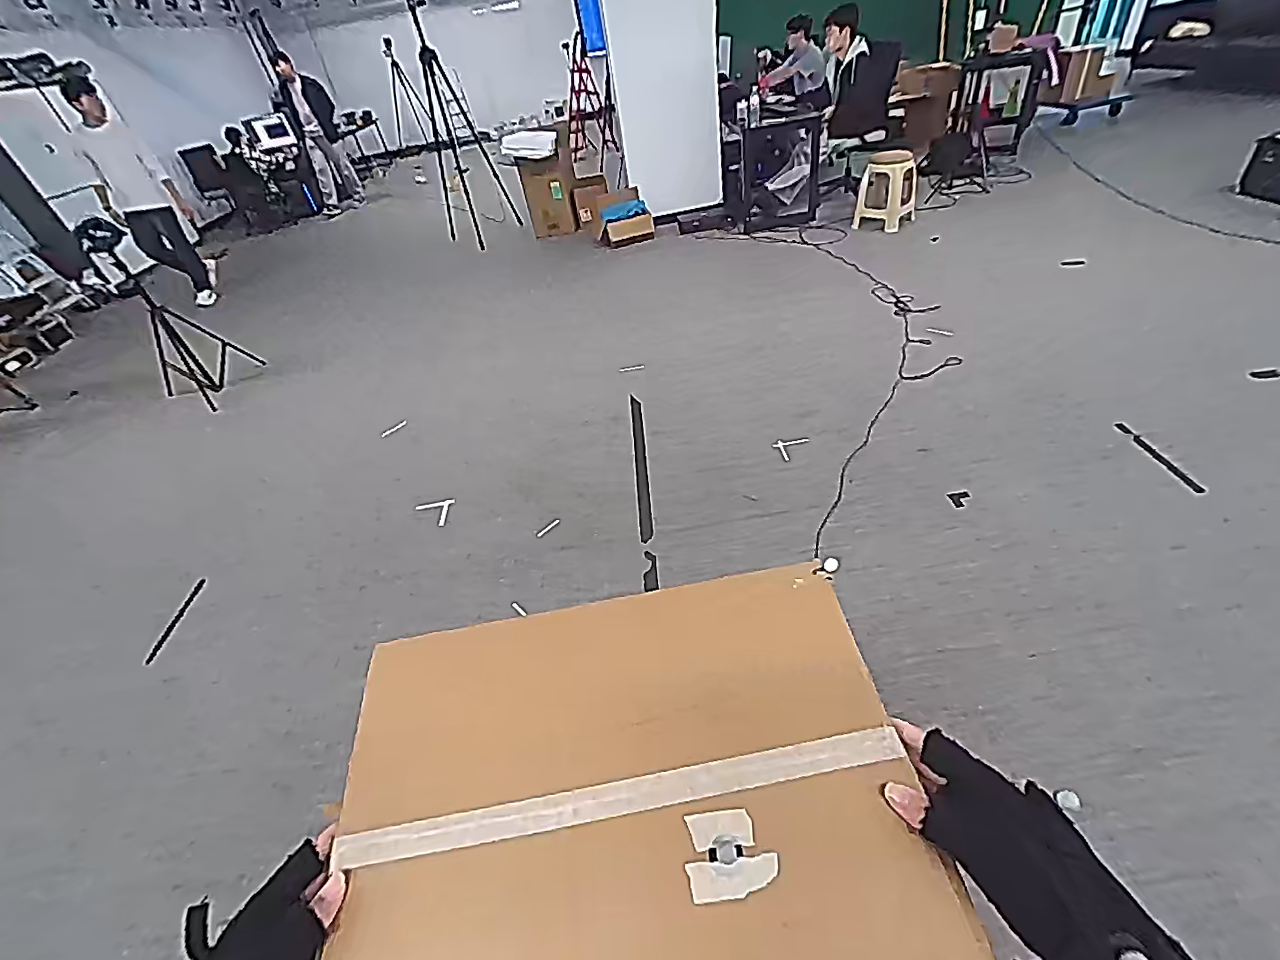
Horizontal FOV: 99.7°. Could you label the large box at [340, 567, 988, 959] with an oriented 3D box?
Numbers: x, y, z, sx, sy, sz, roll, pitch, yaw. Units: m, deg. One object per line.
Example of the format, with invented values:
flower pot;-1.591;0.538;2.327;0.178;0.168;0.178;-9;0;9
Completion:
large box;0.005;0.327;0.507;0.408;0.320;0.320;-10;49;-1
